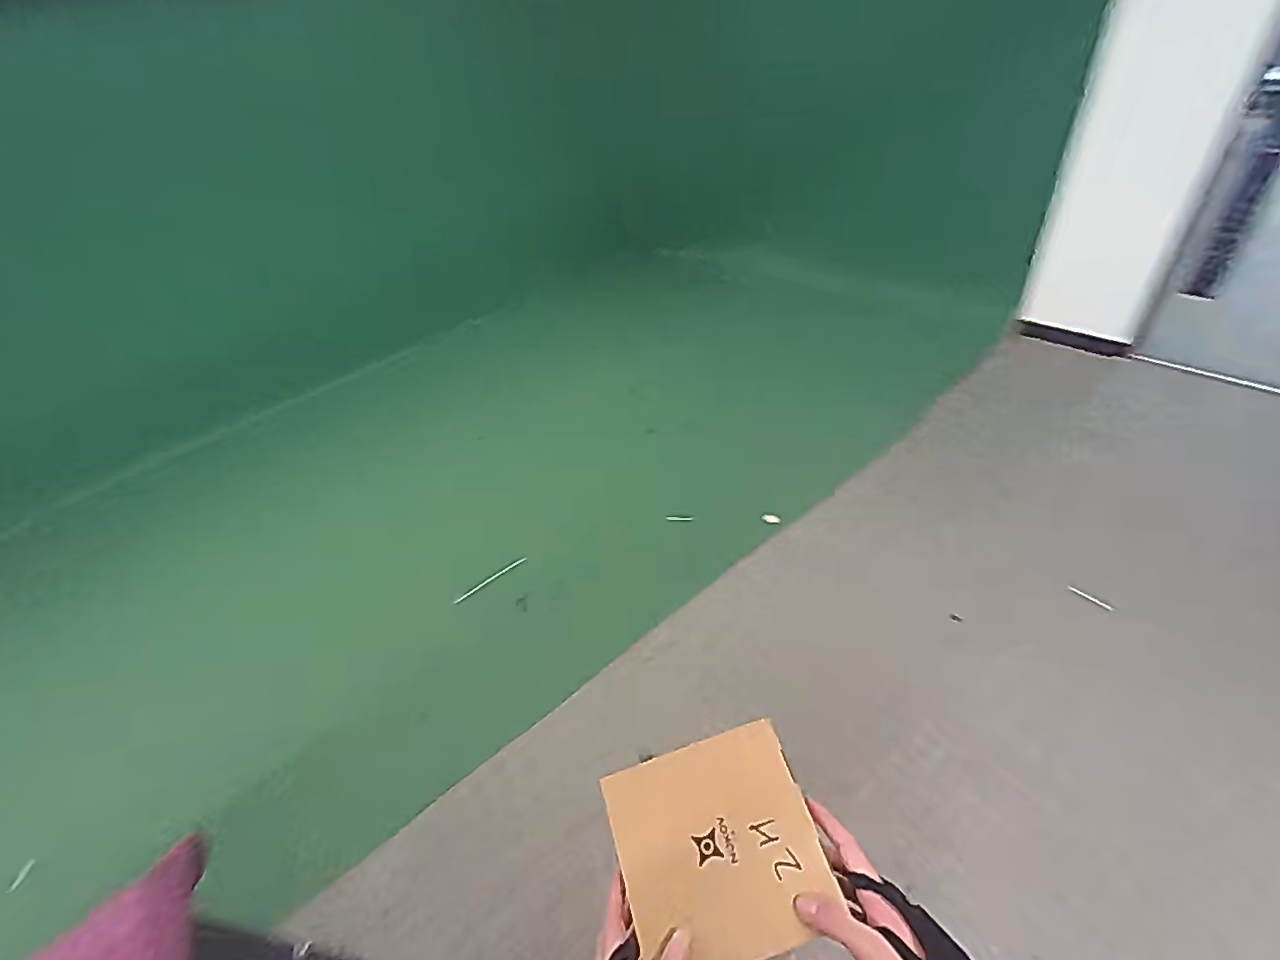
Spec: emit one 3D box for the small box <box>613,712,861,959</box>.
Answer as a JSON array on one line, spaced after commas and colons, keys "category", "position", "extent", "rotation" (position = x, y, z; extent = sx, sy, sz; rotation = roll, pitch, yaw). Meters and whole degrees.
[{"category": "small box", "position": [0.087, 0.355, 0.537], "extent": [0.179, 0.176, 0.168], "rotation": [-16, 55, -3]}]
